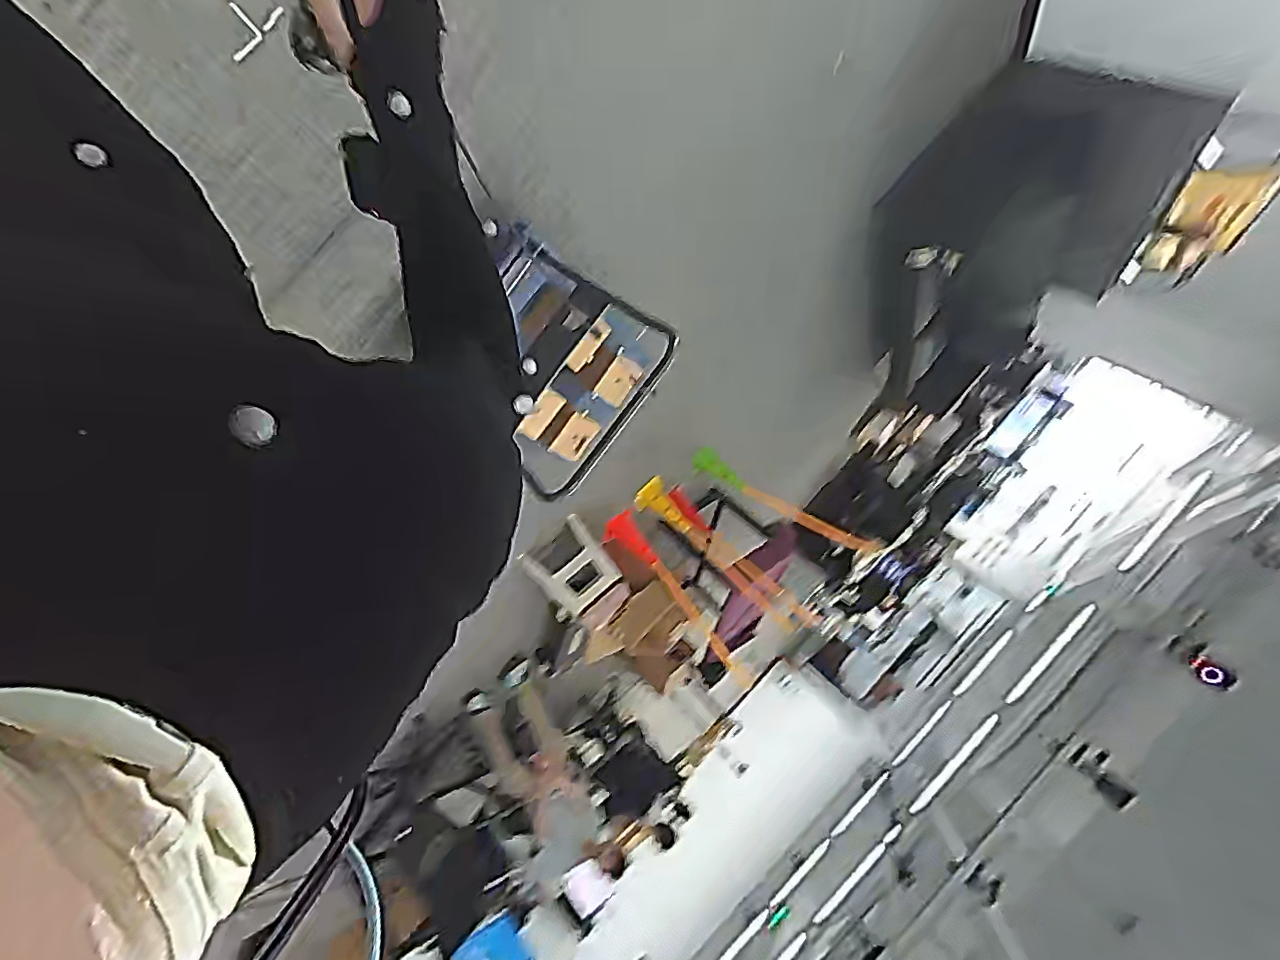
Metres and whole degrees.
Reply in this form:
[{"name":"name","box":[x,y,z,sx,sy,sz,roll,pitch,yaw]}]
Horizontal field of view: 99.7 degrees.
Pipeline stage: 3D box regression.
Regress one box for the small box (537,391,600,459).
[{"name":"small box","box":[-0.288,-0.205,1.993,0.168,0.176,0.179,-54,150,6]}]

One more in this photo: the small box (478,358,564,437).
[{"name":"small box","box":[-0.391,-0.273,1.777,0.168,0.176,0.179,-52,150,3]}]
